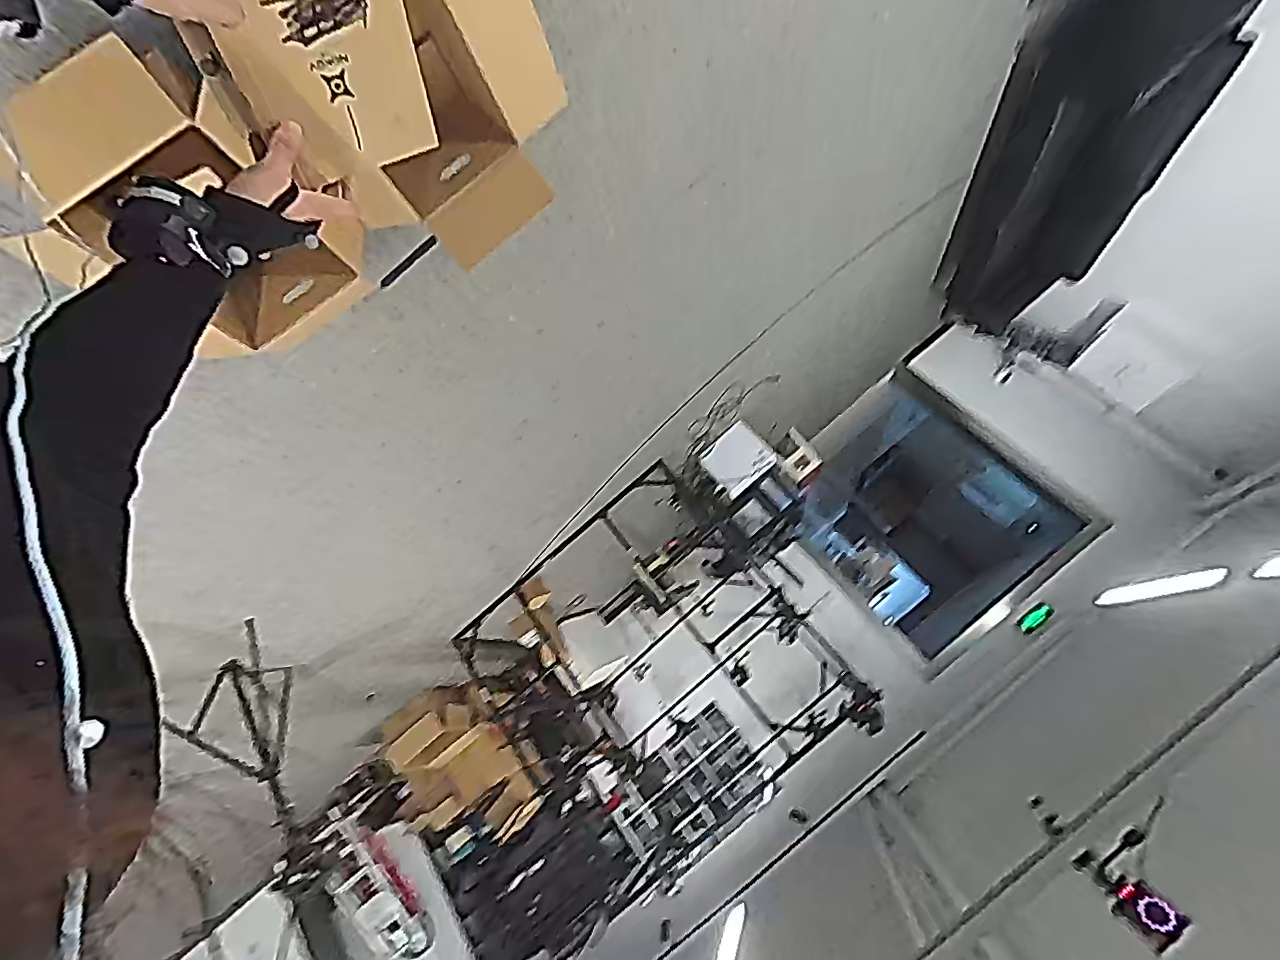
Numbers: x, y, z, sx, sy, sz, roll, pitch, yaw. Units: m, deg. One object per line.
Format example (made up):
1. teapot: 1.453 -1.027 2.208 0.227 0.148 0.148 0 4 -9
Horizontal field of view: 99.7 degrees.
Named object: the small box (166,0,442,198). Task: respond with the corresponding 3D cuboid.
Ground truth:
1. small box: -0.328 -0.422 0.525 0.168 0.176 0.179 -36 158 -22
